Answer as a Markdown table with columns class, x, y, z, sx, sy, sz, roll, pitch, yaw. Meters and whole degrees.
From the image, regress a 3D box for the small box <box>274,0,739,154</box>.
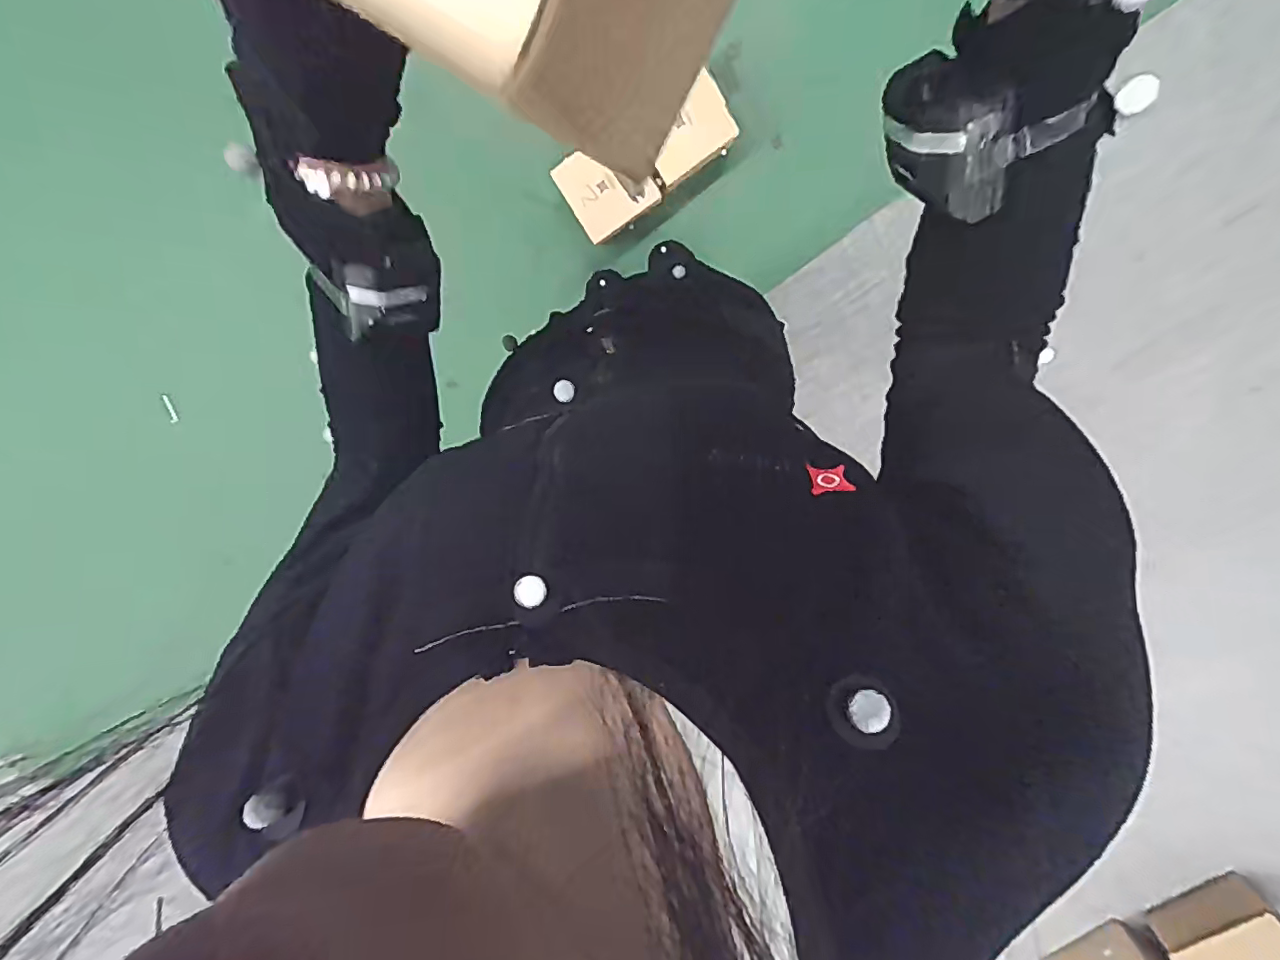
| class | x | y | z | sx | sy | sz | roll | pitch | yaw |
| --- | --- | --- | --- | --- | --- | --- | --- | --- | --- |
| small box | -0.045 | -0.207 | 0.135 | 0.179 | 0.176 | 0.168 | 31 | 120 | -6 |

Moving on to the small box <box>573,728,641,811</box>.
| class | x | y | z | sx | sy | sz | roll | pitch | yaw |
| --- | --- | --- | --- | --- | --- | --- | --- | --- | --- |
| small box | -0.115 | 1.015 | 1.904 | 0.179 | 0.176 | 0.168 | -38 | 108 | 16 |
